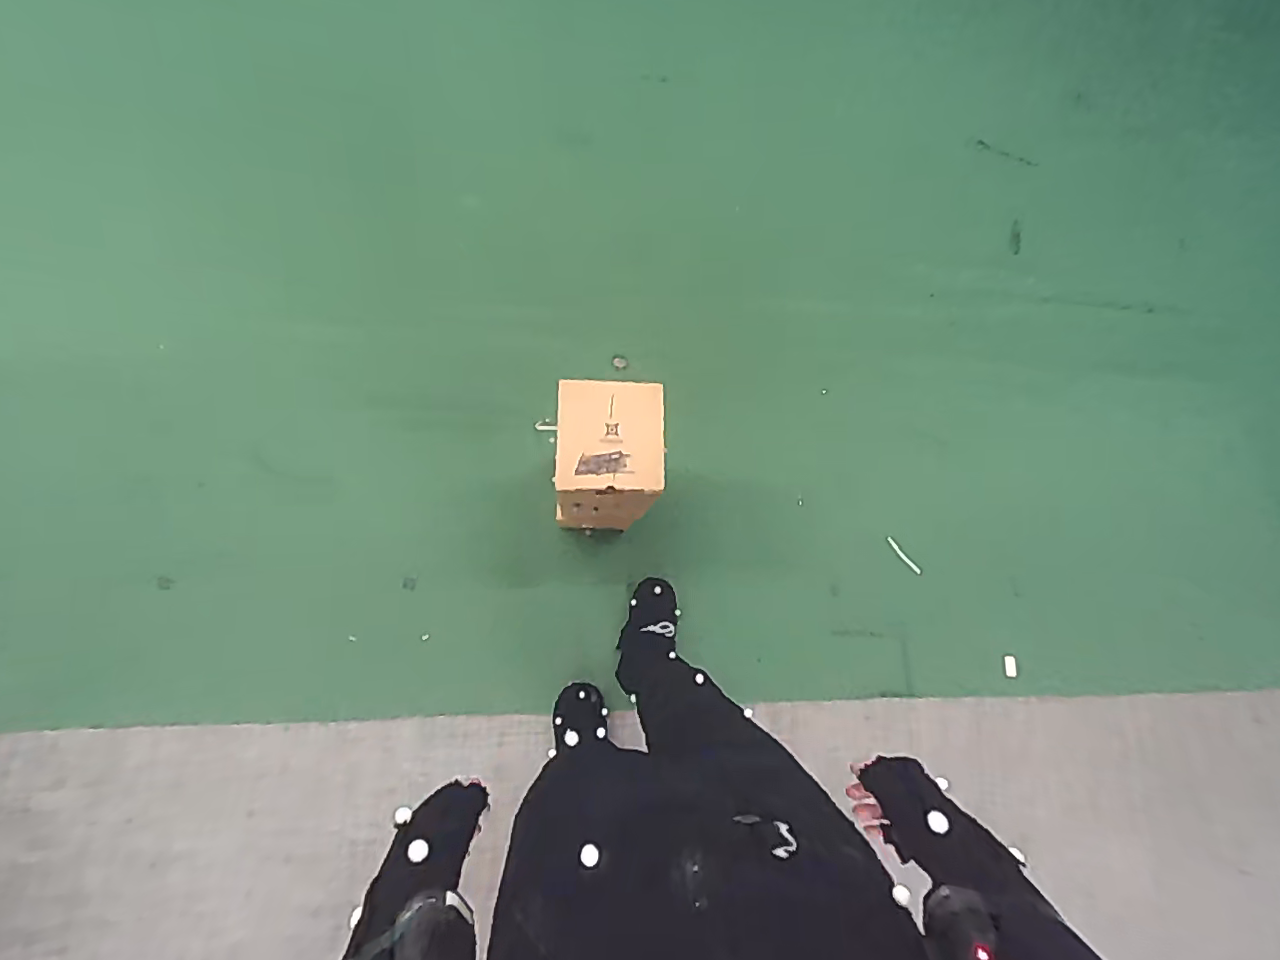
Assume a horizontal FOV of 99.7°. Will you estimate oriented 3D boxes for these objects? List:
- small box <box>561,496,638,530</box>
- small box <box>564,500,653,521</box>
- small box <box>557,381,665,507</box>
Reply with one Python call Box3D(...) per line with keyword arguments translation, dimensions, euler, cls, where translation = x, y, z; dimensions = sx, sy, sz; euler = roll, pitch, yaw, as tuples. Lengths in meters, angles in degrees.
Box3D(translation=(-0.093, 0.018, 1.229), dimensions=(0.168, 0.176, 0.179), euler=(2, 80, -6), cls="small box")
Box3D(translation=(-0.066, -0.019, 1.072), dimensions=(0.168, 0.176, 0.179), euler=(1, 78, -6), cls="small box")
Box3D(translation=(-0.050, -0.051, 0.911), dimensions=(0.168, 0.176, 0.179), euler=(2, 78, -6), cls="small box")
